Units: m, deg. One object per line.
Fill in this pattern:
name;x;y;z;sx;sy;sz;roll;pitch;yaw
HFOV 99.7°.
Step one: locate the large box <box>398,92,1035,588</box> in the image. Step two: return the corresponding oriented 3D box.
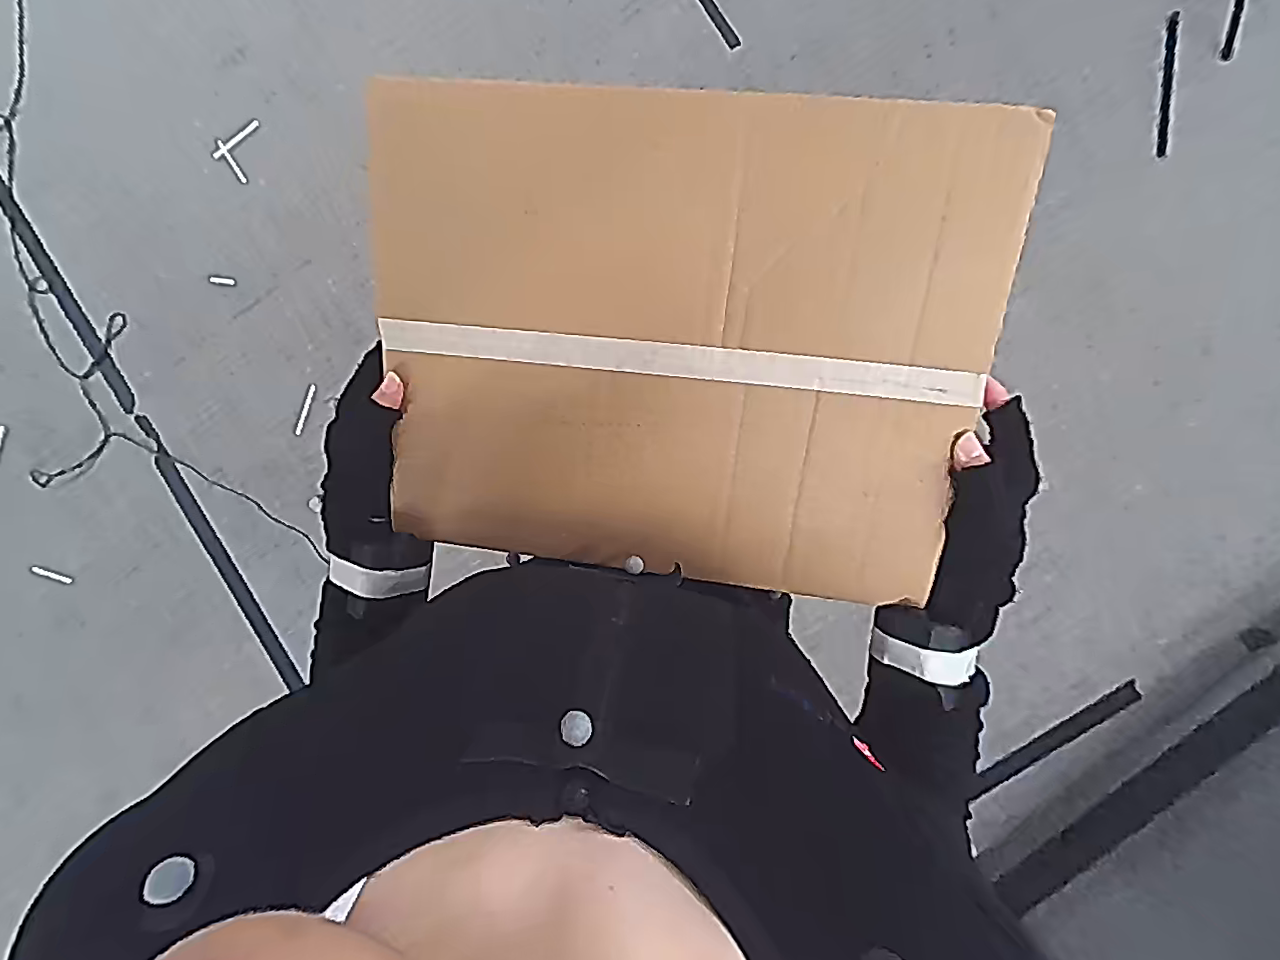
large box;0.041;-0.127;0.519;0.408;0.320;0.320;7;108;5
